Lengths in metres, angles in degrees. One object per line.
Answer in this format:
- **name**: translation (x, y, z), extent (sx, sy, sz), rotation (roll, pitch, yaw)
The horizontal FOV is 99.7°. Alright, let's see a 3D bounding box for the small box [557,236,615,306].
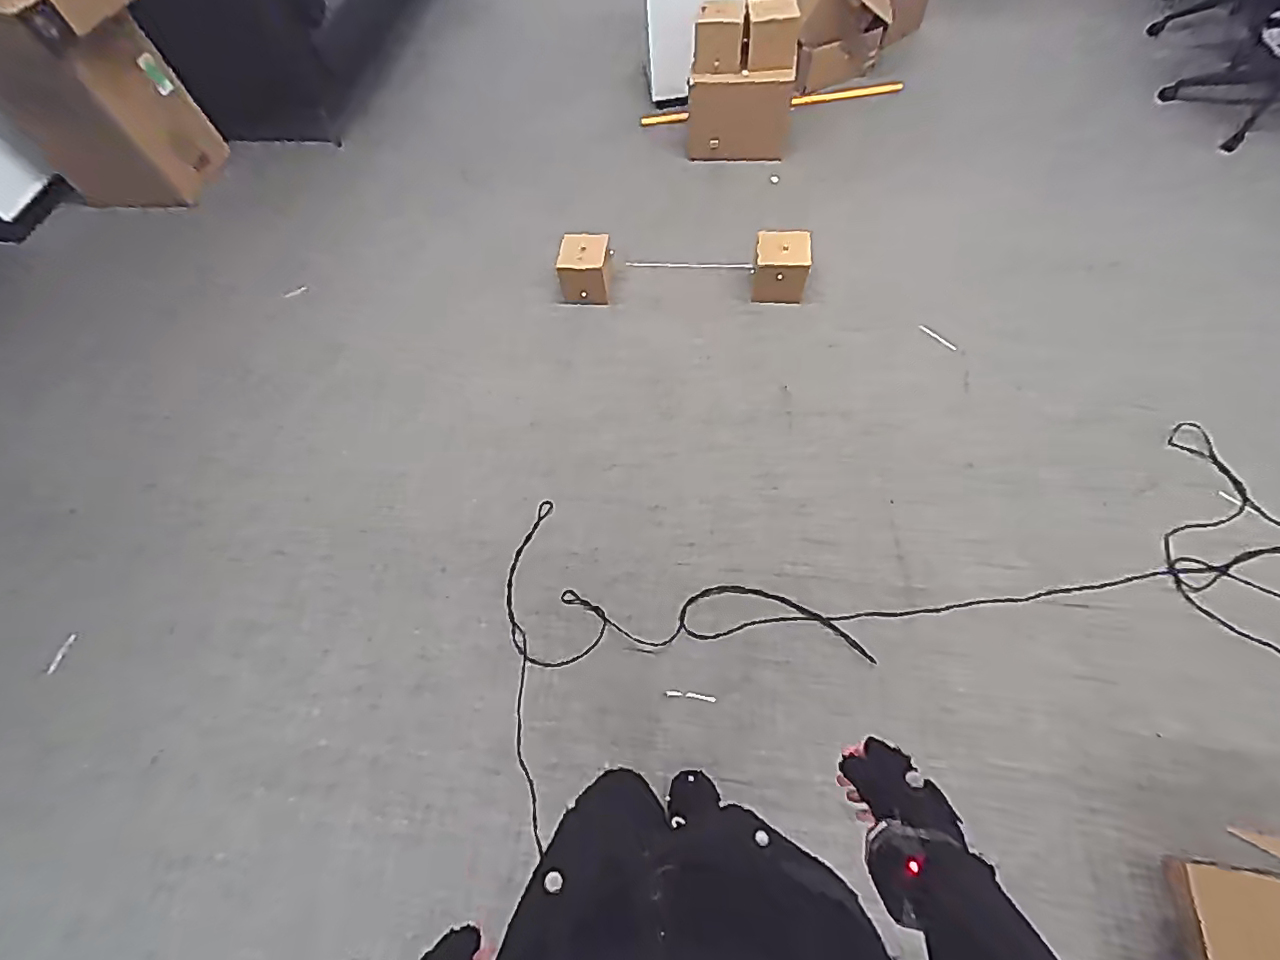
- **small box**: translation (-0.188, -0.754, 1.950), extent (0.168, 0.176, 0.179), rotation (3, 62, 8)

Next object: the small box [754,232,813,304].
- **small box**: translation (0.492, -0.729, 1.869), extent (0.179, 0.176, 0.168), rotation (3, 63, 8)
